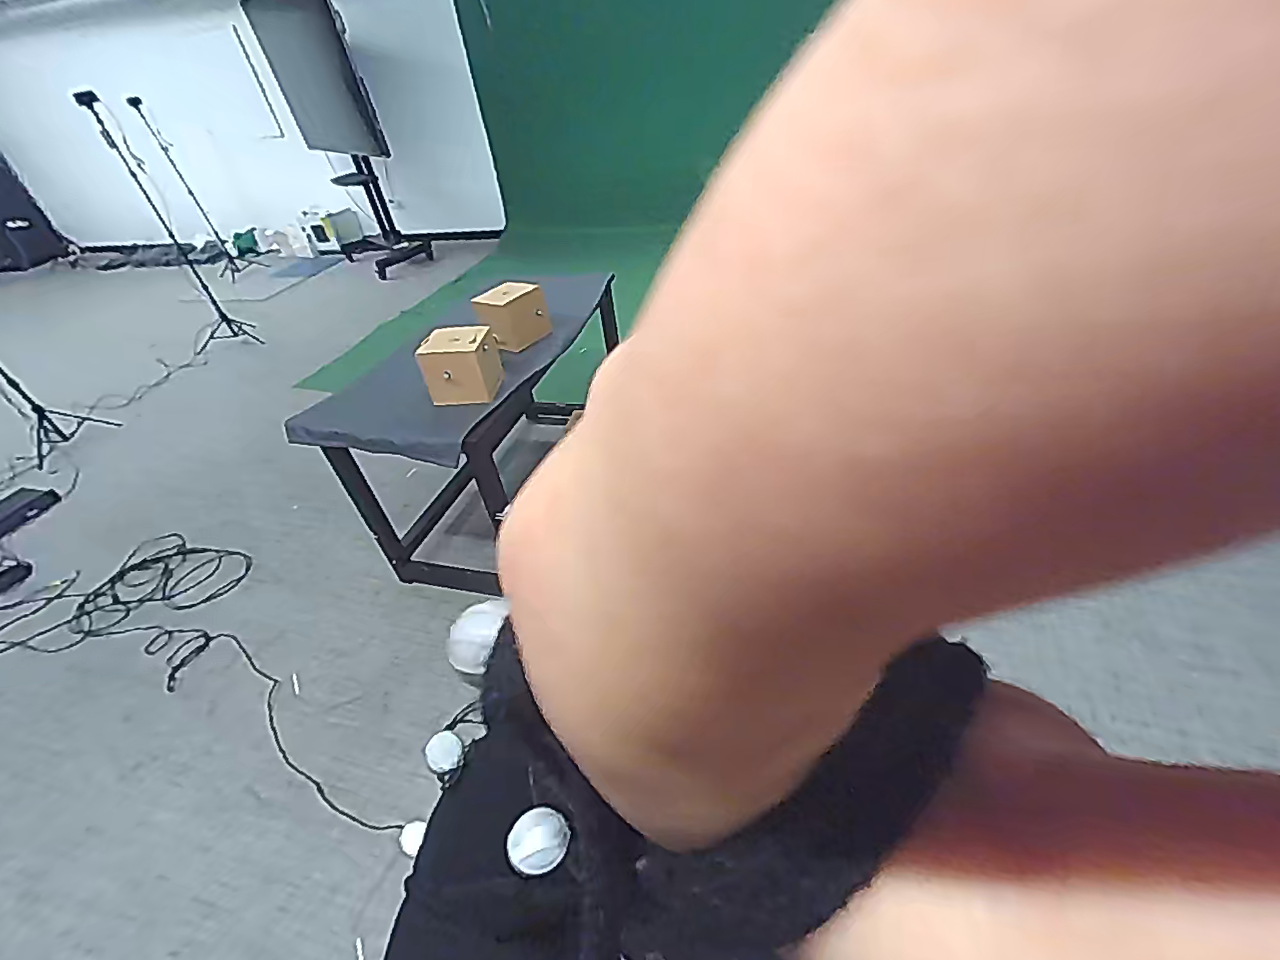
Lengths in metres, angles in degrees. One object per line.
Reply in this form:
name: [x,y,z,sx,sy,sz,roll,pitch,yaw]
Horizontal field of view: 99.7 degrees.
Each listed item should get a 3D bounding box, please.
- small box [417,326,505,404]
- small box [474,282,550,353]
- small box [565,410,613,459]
small box: [-0.516,-0.333,1.585,0.179,0.176,0.168,-2,40,6]
small box: [-0.426,-0.555,1.838,0.168,0.176,0.179,19,48,33]
small box: [-0.233,-0.213,2.536,0.179,0.176,0.168,3,40,12]
